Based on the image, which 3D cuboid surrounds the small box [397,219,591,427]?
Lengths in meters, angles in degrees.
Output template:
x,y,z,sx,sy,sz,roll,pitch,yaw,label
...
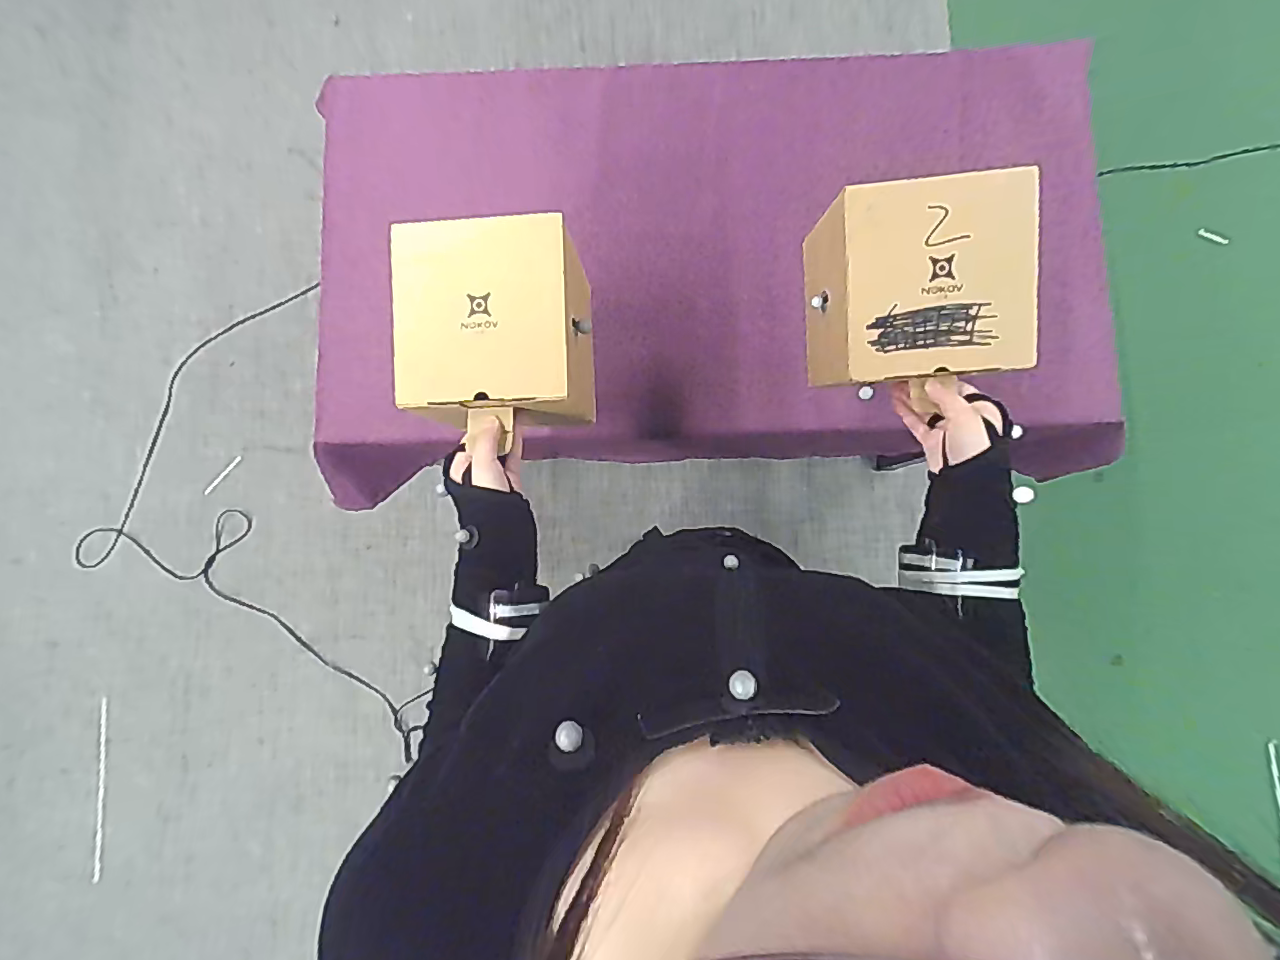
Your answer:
x,y,z,sx,sy,sz,roll,pitch,yaw,label
-0.148,-0.158,0.597,0.168,0.176,0.179,-2,89,4,small box
